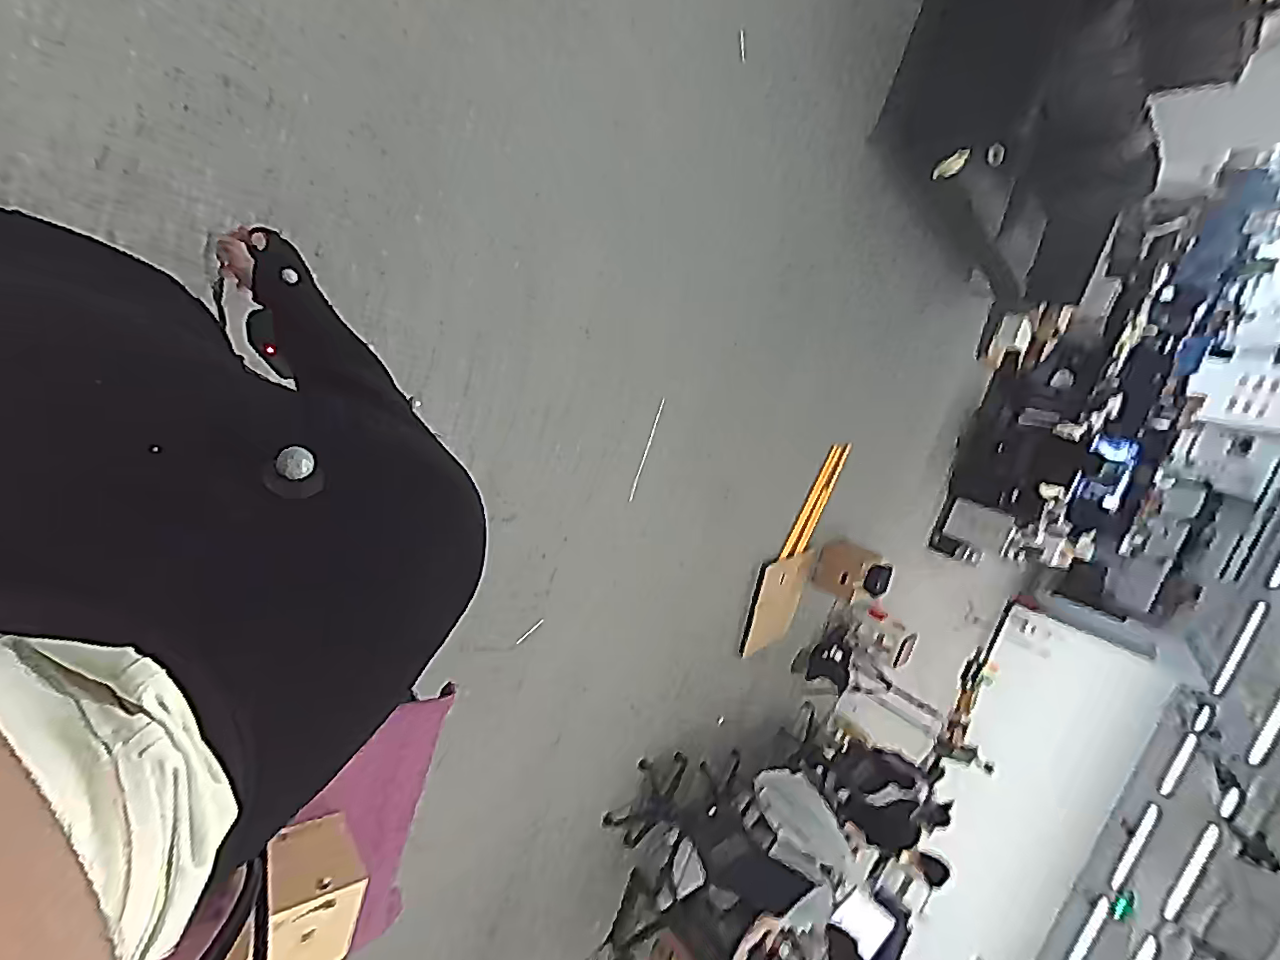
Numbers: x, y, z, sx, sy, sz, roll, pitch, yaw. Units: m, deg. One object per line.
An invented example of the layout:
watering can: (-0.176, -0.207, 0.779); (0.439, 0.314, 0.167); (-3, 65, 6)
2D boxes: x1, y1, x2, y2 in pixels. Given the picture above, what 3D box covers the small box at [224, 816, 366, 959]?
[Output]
small box: (-0.621, 0.754, 0.966); (0.168, 0.176, 0.179); (10, 102, -48)
